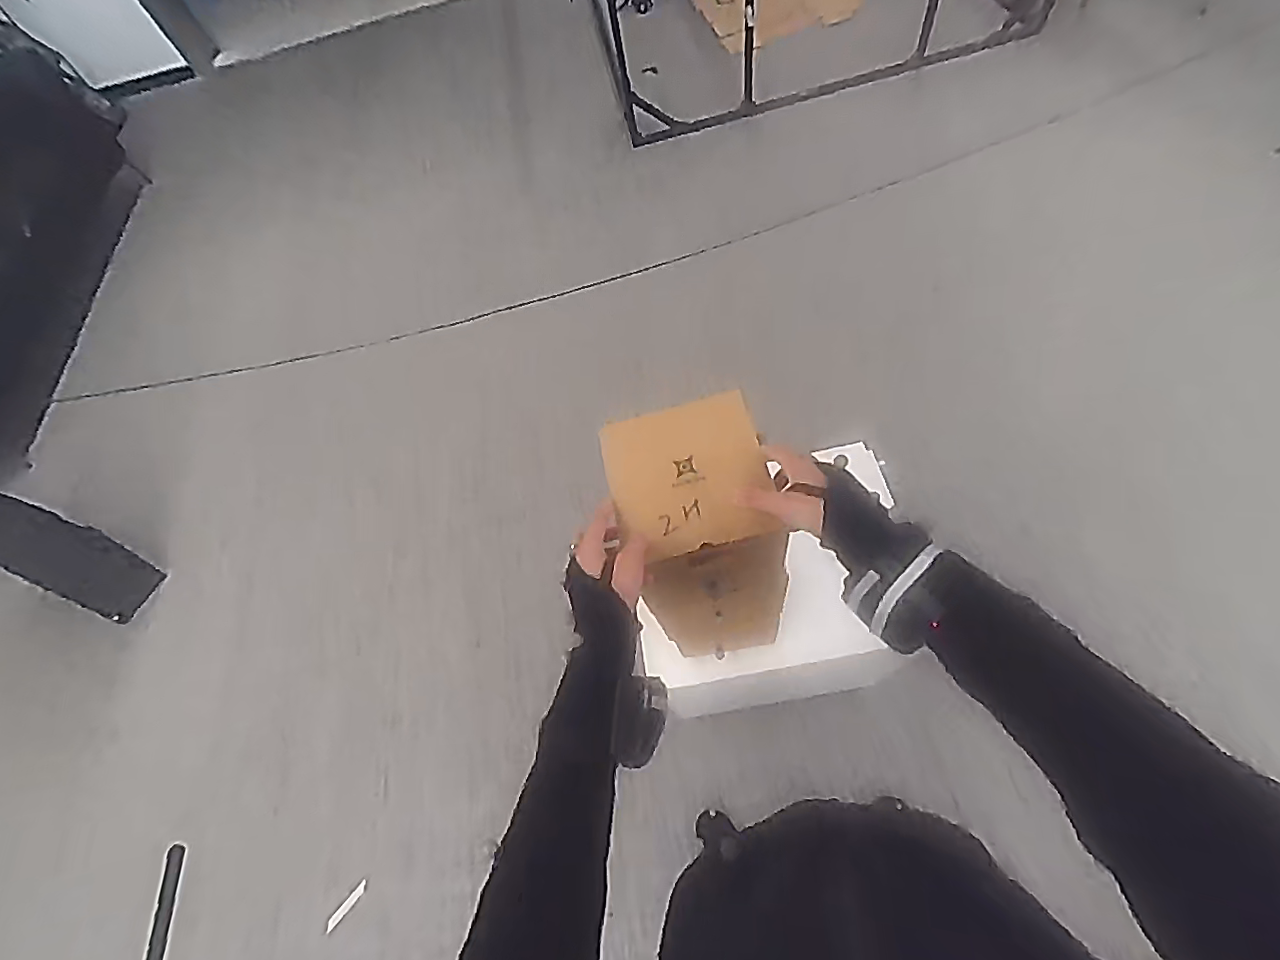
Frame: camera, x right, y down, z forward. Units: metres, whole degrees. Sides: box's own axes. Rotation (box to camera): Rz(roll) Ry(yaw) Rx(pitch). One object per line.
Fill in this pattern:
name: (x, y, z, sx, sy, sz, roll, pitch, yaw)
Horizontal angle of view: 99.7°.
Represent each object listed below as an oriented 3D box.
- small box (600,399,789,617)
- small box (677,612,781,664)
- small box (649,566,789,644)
small box: (0.062, 0.039, 0.629, 0.168, 0.176, 0.179, -15, 60, 4)
small box: (0.130, 0.196, 0.911, 0.168, 0.176, 0.179, -12, 60, 5)
small box: (0.097, 0.120, 0.768, 0.179, 0.176, 0.168, -16, 59, 4)
